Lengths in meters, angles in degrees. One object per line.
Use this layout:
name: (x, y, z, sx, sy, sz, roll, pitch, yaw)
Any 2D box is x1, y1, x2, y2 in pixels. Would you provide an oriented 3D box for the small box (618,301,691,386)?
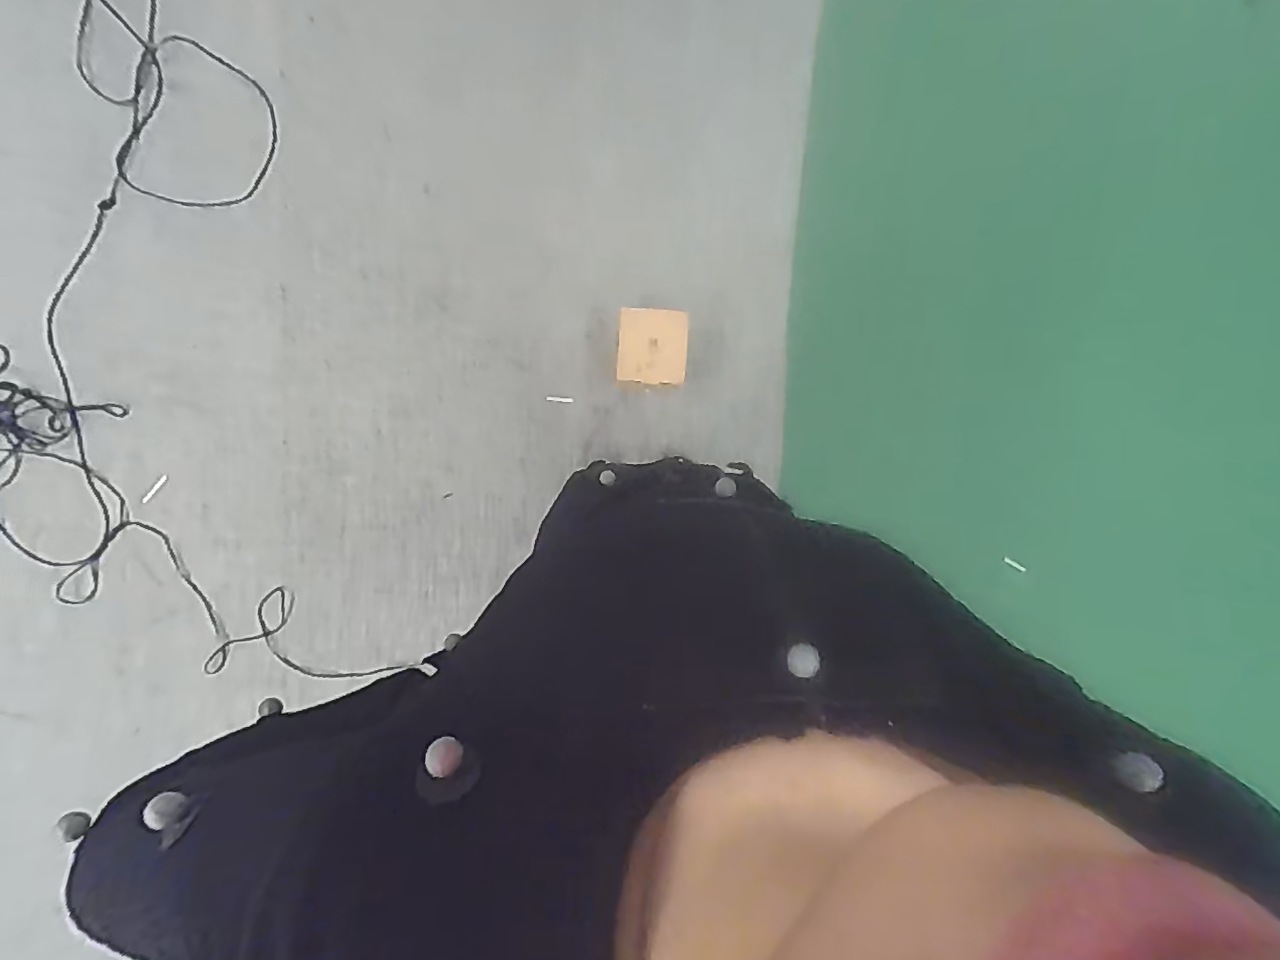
small box: (0.032, -0.339, 1.372, 0.168, 0.176, 0.179, 4, 95, -2)
